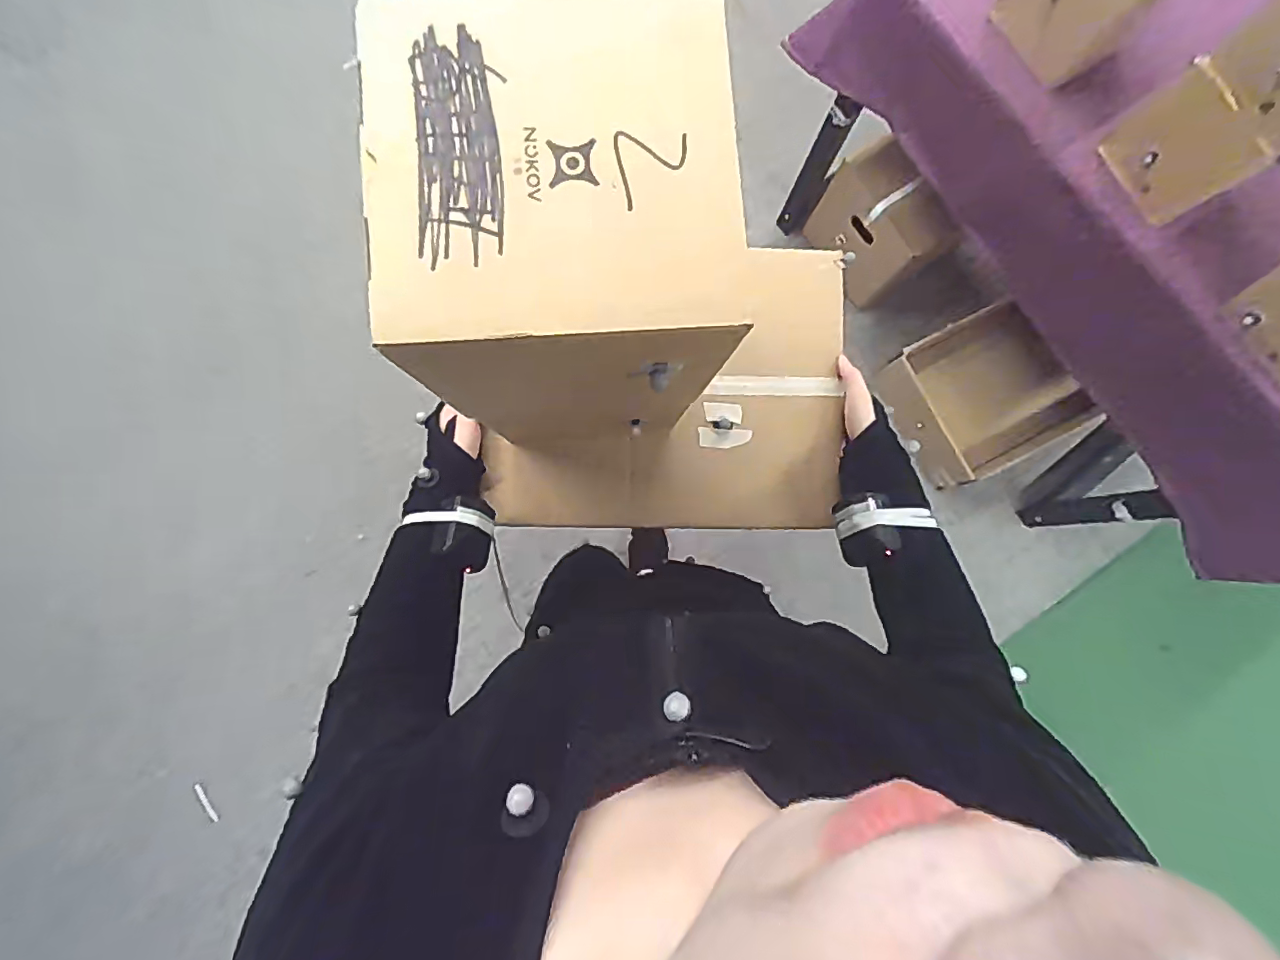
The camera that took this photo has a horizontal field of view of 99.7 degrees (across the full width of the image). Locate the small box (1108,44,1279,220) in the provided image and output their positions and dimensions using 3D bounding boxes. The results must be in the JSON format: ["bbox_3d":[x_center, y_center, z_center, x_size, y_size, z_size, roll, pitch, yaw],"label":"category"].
[{"bbox_3d":[0.884,-0.539,0.818,0.179,0.176,0.168,-29,85,-5],"label":"small box"}]

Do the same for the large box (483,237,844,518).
[{"bbox_3d":[0.018,-0.112,0.743,0.408,0.320,0.320,0,89,-3],"label":"large box"}]

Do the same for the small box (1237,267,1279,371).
[{"bbox_3d":[1.055,-0.269,0.790,0.179,0.176,0.168,-33,85,-7],"label":"small box"}]

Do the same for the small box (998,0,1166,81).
[{"bbox_3d":[0.713,-0.783,0.838,0.168,0.176,0.179,-33,85,-5],"label":"small box"}]

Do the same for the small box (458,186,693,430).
[{"bbox_3d":[-0.054,-0.141,0.495,0.179,0.176,0.168,-3,87,-2],"label":"small box"}]

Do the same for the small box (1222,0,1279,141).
[{"bbox_3d":[0.897,-0.562,0.655,0.179,0.176,0.168,-27,84,-5],"label":"small box"}]
